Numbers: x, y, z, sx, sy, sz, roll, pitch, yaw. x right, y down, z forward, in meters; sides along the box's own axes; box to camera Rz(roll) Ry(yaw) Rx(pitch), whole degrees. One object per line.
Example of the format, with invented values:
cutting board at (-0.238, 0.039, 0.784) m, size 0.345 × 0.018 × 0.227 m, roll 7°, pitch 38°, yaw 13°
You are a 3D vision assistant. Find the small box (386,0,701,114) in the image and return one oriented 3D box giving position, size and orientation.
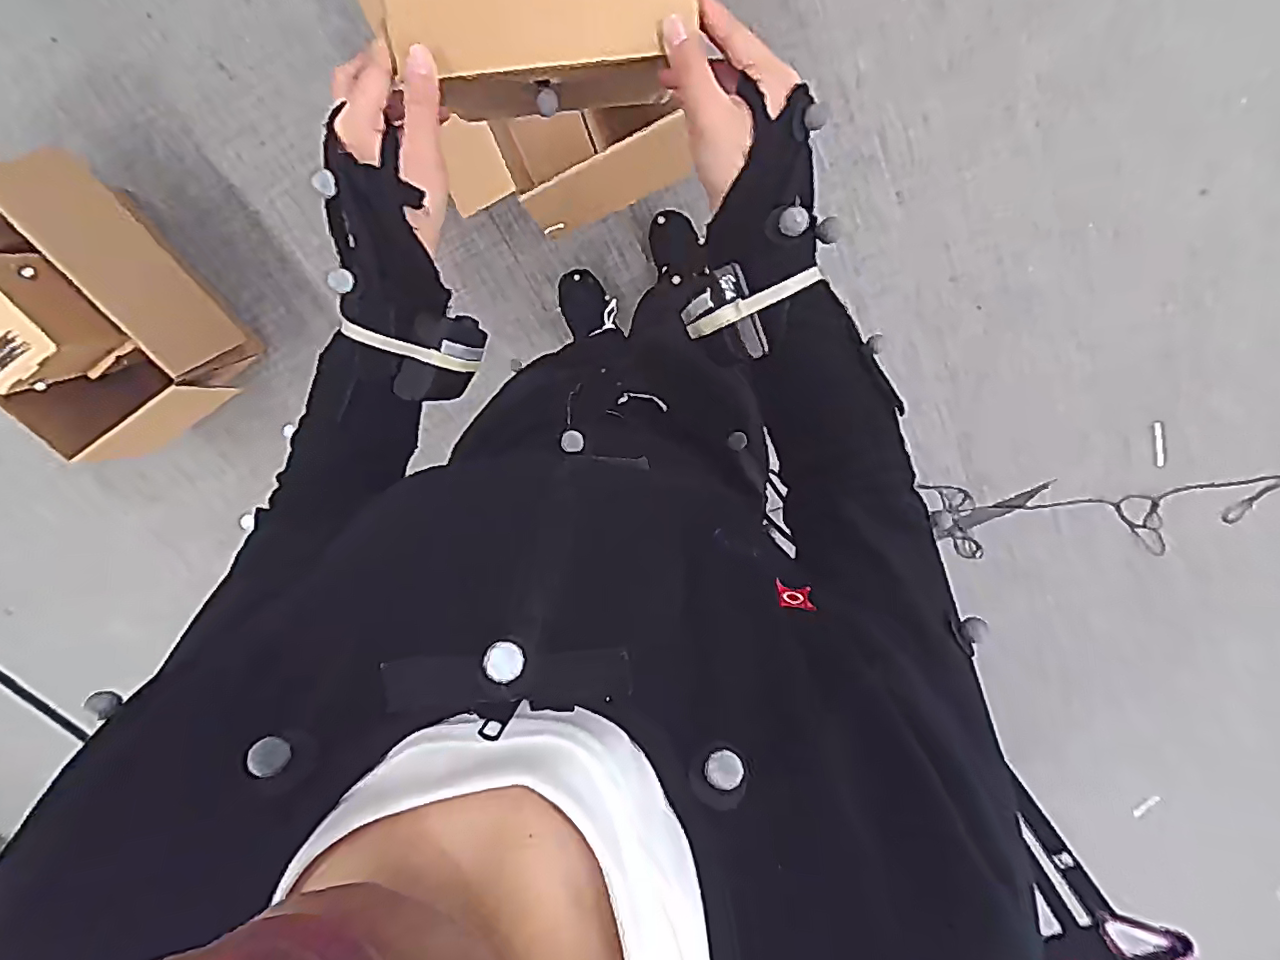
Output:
small box at (-0.063, -0.350, 0.347) m, size 0.179 × 0.176 × 0.168 m, roll -6°, pitch 117°, yaw 0°
